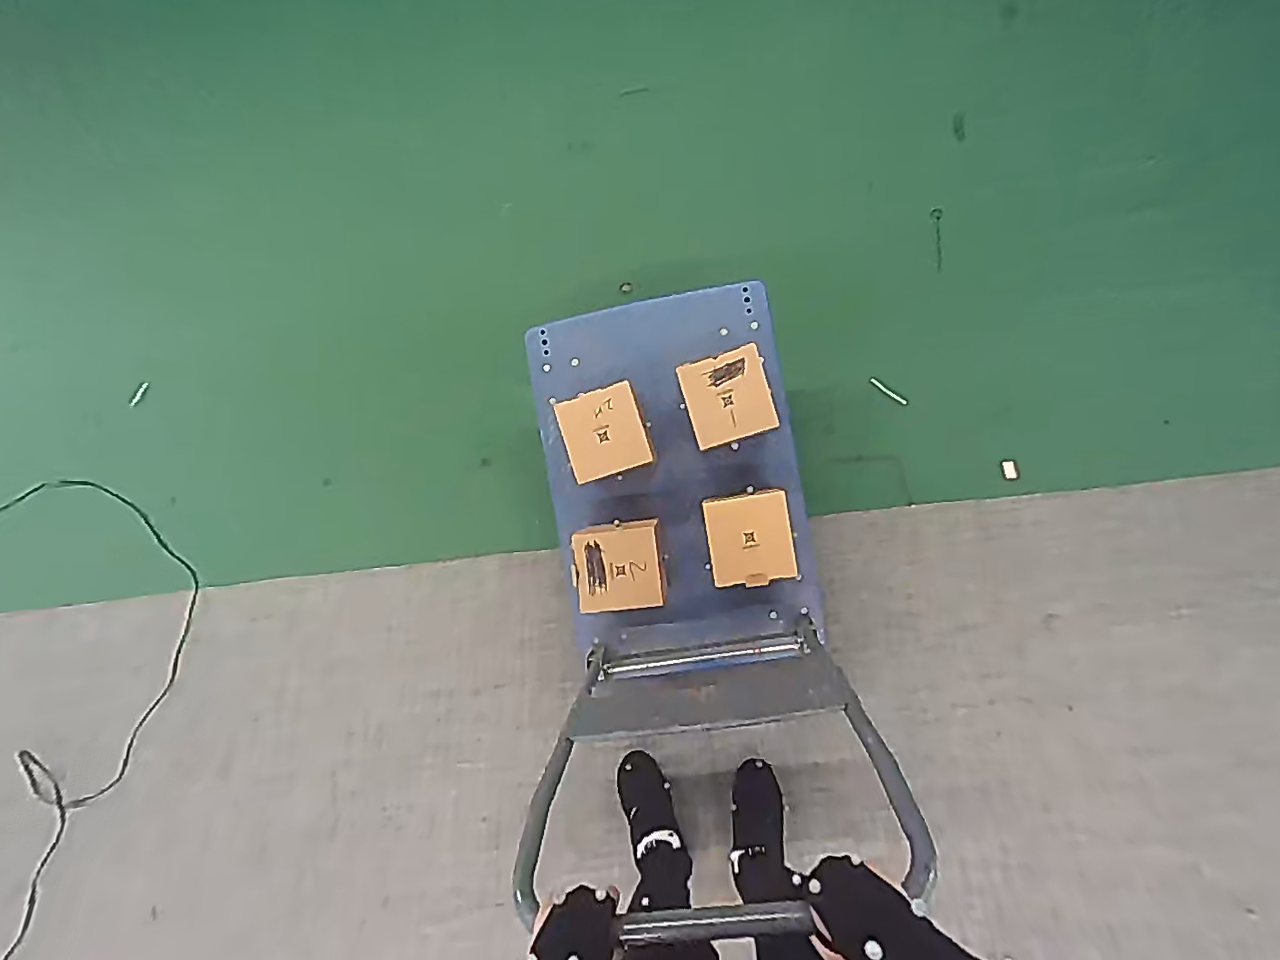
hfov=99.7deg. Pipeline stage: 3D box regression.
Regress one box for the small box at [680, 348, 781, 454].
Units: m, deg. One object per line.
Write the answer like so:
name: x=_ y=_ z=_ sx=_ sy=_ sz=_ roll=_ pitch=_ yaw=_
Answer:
small box: x=0.187 y=-0.159 z=1.157 sx=0.168 sy=0.176 sz=0.179 roll=-16 pitch=90 yaw=7

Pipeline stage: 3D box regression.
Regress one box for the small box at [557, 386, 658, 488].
small box: x=-0.063 y=-0.090 z=1.185 sx=0.168 sy=0.176 sz=0.179 roll=-17 pitch=89 yaw=6

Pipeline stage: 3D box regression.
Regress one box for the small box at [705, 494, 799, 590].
small box: x=0.232 y=0.125 z=1.159 sx=0.168 sy=0.176 sz=0.179 roll=-9 pitch=90 yaw=6
